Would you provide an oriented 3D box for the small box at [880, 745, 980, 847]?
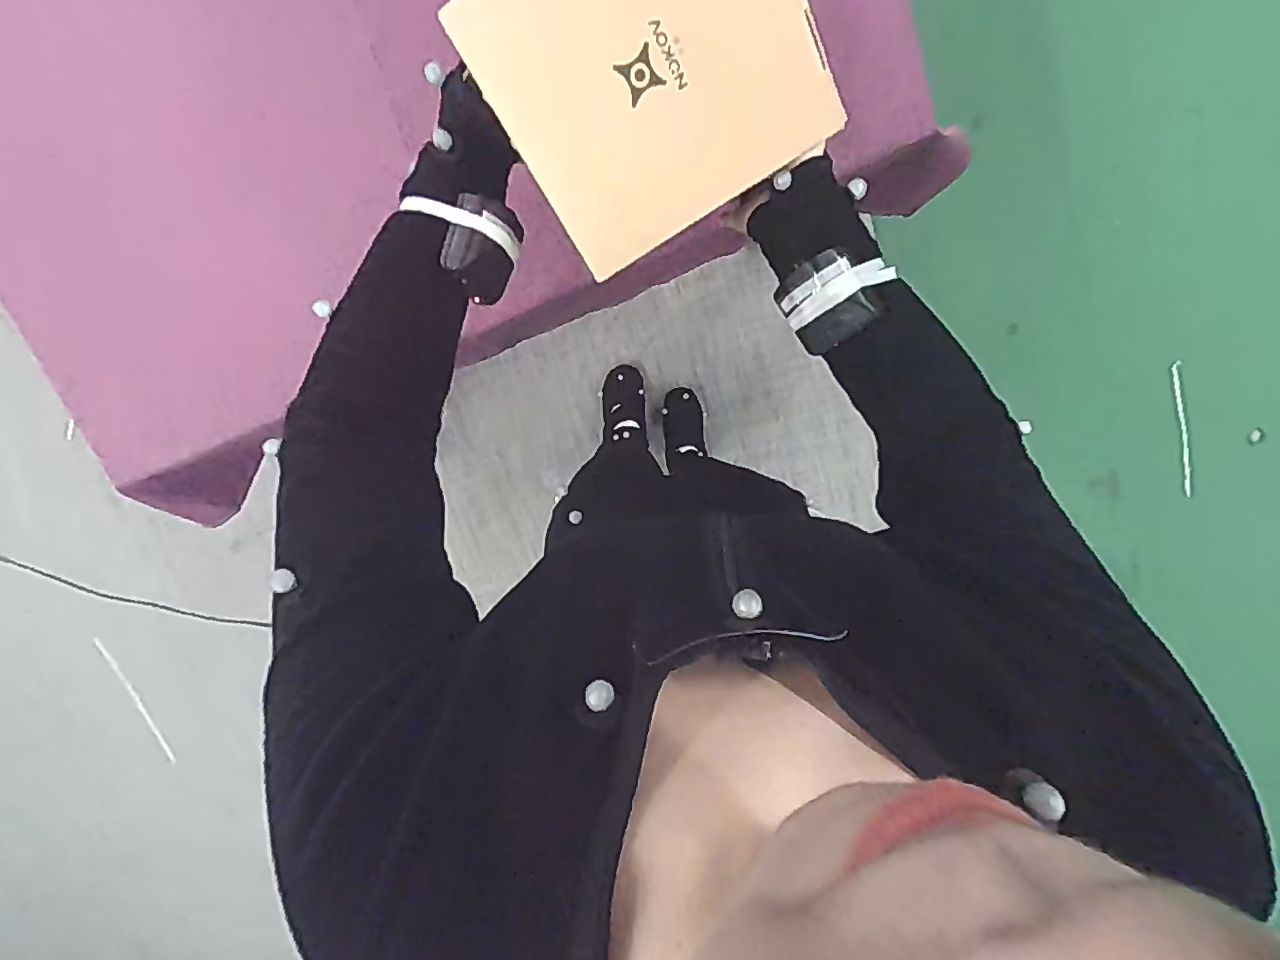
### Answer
[{"bbox_3d":[0.848,0.923,1.601,0.168,0.176,0.179,-36,99,9],"label":"small box"}]

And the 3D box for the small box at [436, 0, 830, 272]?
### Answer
[{"bbox_3d":[0.003,-0.272,0.378,0.179,0.176,0.168,-27,114,16],"label":"small box"}]
